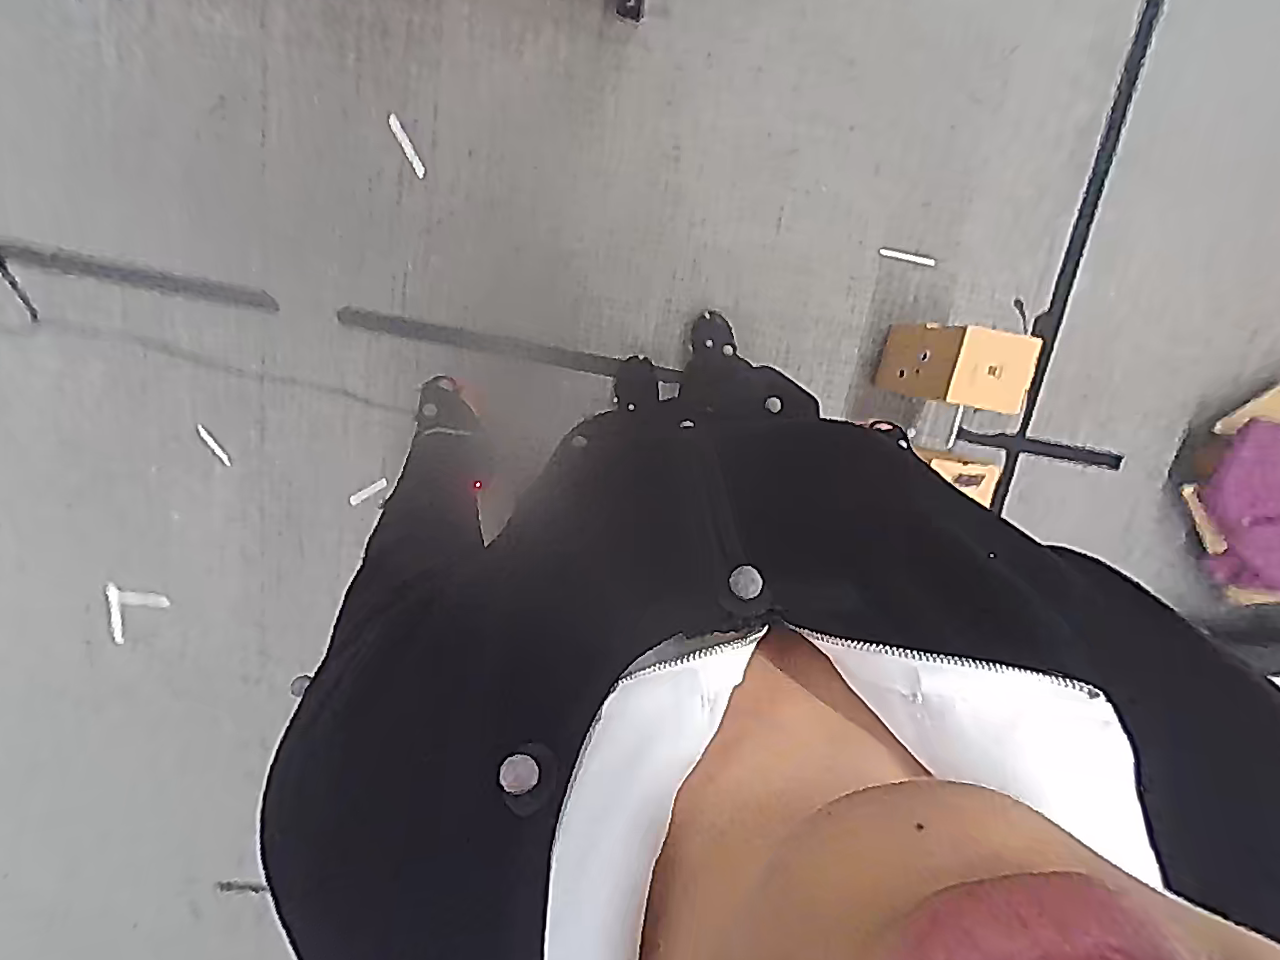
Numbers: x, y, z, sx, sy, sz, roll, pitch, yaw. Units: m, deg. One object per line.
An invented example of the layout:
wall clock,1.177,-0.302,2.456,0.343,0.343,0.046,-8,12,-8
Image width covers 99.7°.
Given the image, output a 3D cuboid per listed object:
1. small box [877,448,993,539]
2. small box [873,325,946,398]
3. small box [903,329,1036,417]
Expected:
small box,0.703,0.026,1.310,0.168,0.176,0.179,6,104,-5
small box,0.734,-0.294,1.401,0.168,0.176,0.179,10,103,-6
small box,0.748,-0.247,1.246,0.179,0.176,0.168,9,102,-5
